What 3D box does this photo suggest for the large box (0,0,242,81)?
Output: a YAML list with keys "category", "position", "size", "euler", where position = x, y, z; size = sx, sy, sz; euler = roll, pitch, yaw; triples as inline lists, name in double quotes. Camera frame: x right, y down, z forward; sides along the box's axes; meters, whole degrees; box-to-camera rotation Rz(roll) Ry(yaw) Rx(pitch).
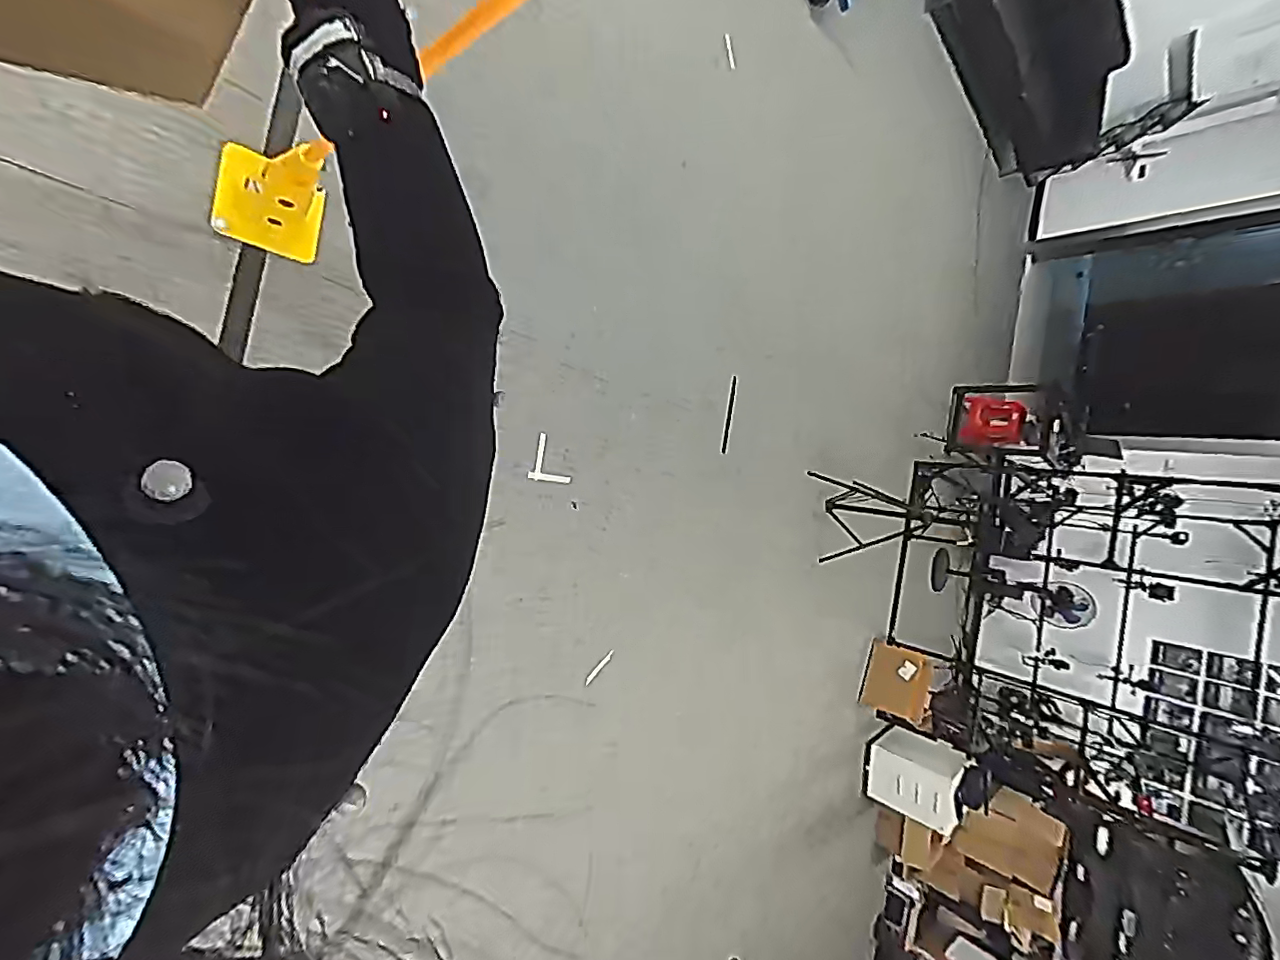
- category: "large box"
  position: [-0.483, -0.482, 0.276]
  size: [0.408, 0.320, 0.320]
  euler: [-16, 108, -43]
